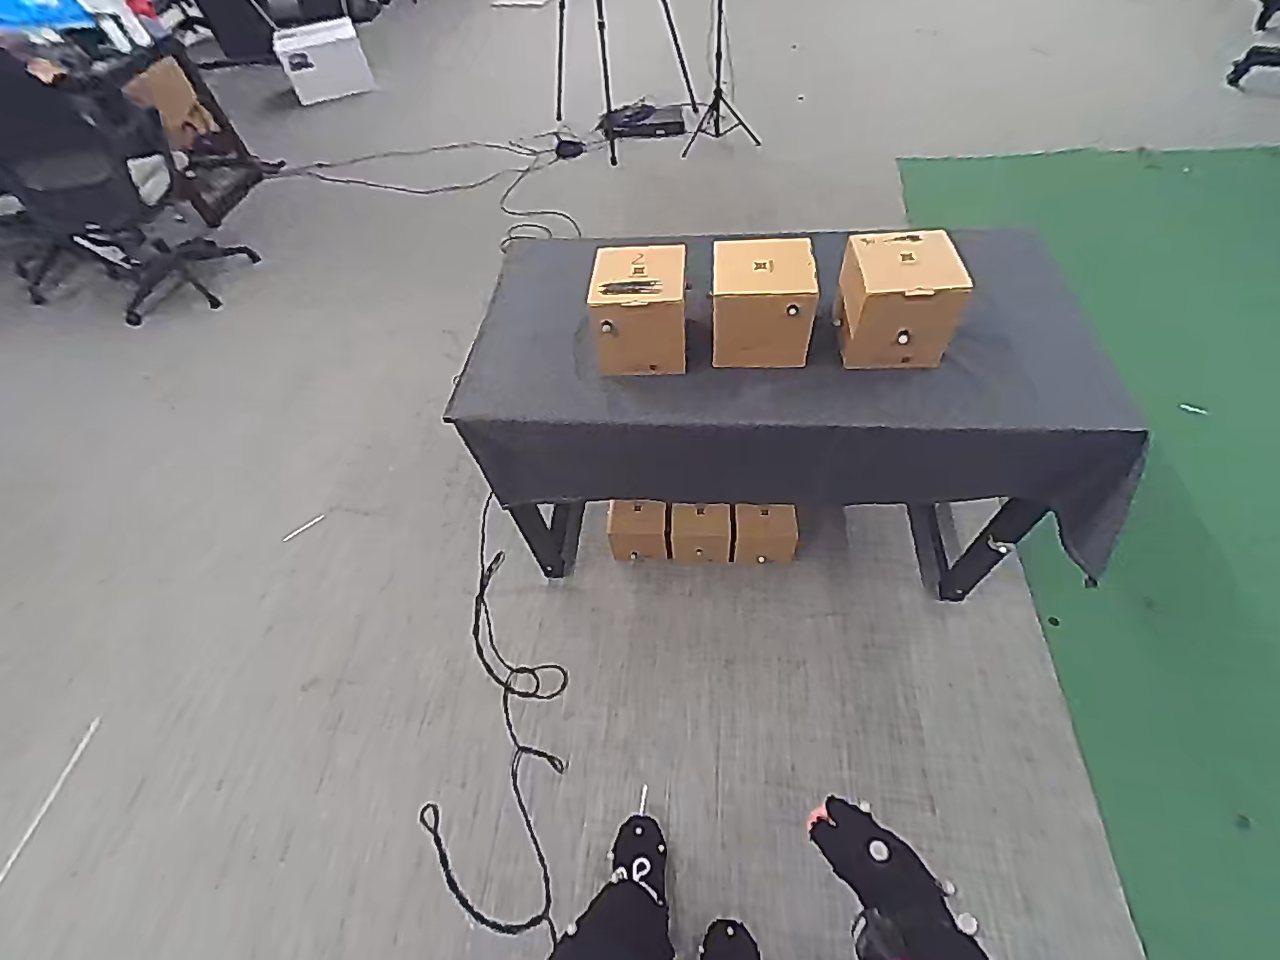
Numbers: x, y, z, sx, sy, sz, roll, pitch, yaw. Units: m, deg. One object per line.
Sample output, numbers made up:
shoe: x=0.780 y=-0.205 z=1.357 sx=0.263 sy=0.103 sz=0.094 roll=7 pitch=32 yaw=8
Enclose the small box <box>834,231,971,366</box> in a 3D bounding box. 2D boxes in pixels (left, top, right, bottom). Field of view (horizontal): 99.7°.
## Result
small box: x=0.461 y=-0.323 z=0.982 sx=0.168 sy=0.176 sz=0.179 roll=0 pitch=55 yaw=6
